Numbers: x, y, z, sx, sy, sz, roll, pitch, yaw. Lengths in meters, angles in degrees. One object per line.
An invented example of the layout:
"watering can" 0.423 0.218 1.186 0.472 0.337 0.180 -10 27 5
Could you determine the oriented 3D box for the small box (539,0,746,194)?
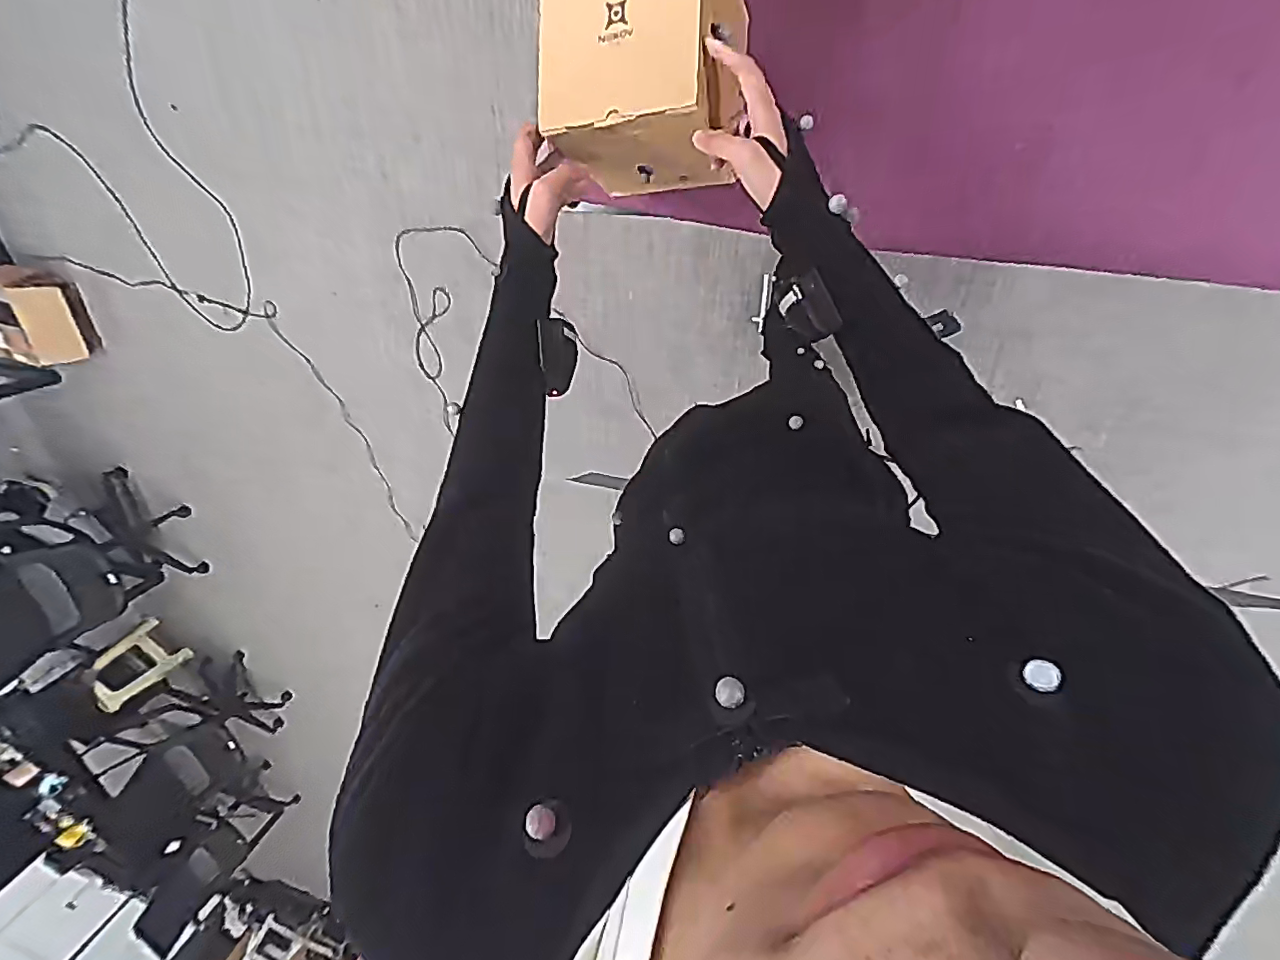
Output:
"small box" 0.011 -0.428 0.564 0.168 0.176 0.179 5 98 22
